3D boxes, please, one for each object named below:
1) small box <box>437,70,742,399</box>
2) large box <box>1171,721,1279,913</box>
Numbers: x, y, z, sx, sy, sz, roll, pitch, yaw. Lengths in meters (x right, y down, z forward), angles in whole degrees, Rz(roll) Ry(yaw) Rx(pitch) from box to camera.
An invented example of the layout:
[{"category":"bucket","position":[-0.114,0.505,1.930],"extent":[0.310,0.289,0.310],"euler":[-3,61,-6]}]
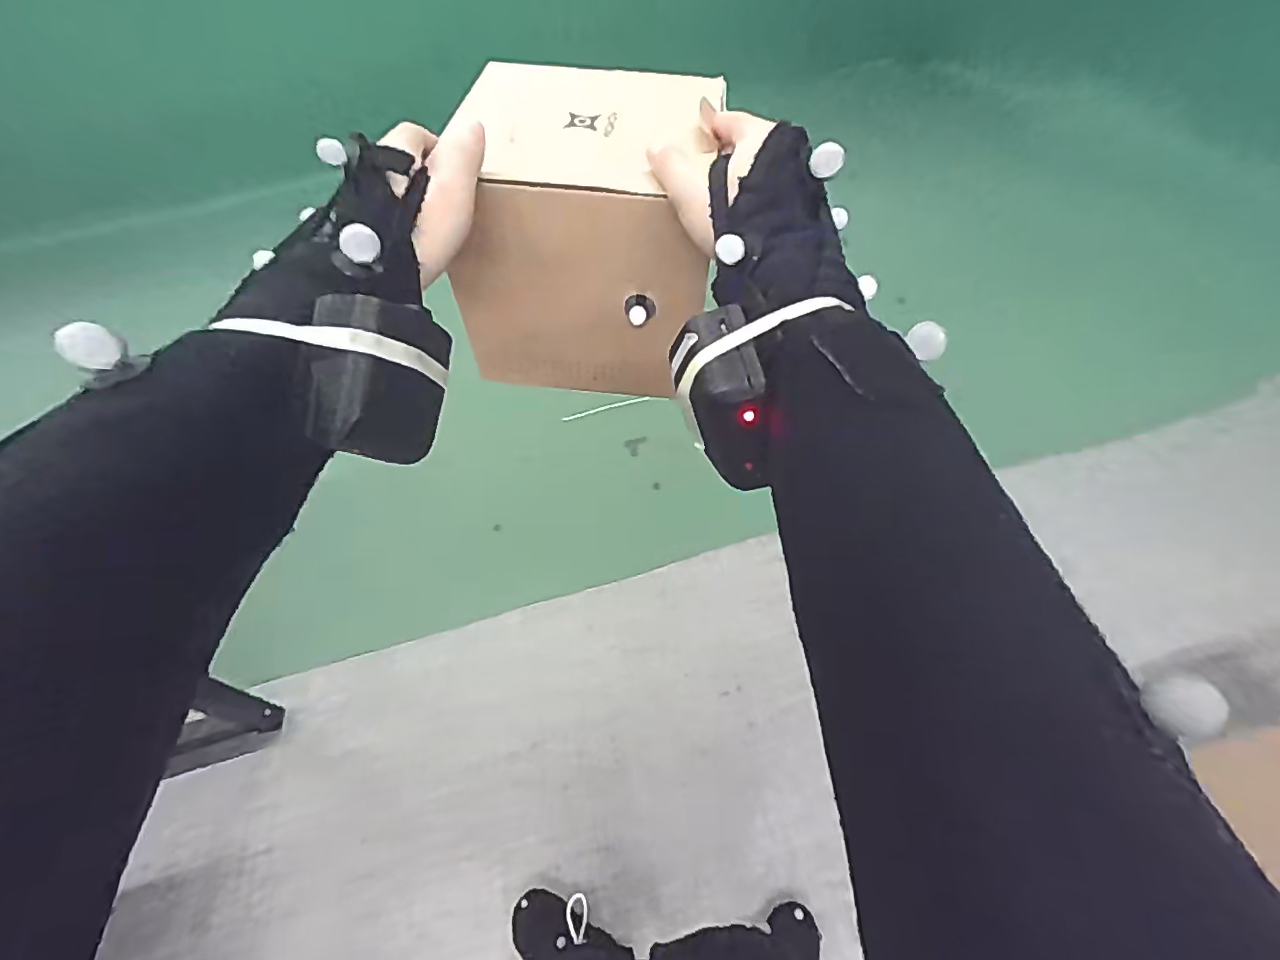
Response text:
[{"category":"small box","position":[-0.023,-0.180,0.415],"extent":[0.179,0.176,0.168],"euler":[5,55,4]},{"category":"large box","position":[1.260,0.602,0.889],"extent":[0.320,0.320,0.408],"euler":[-11,53,-1]}]
